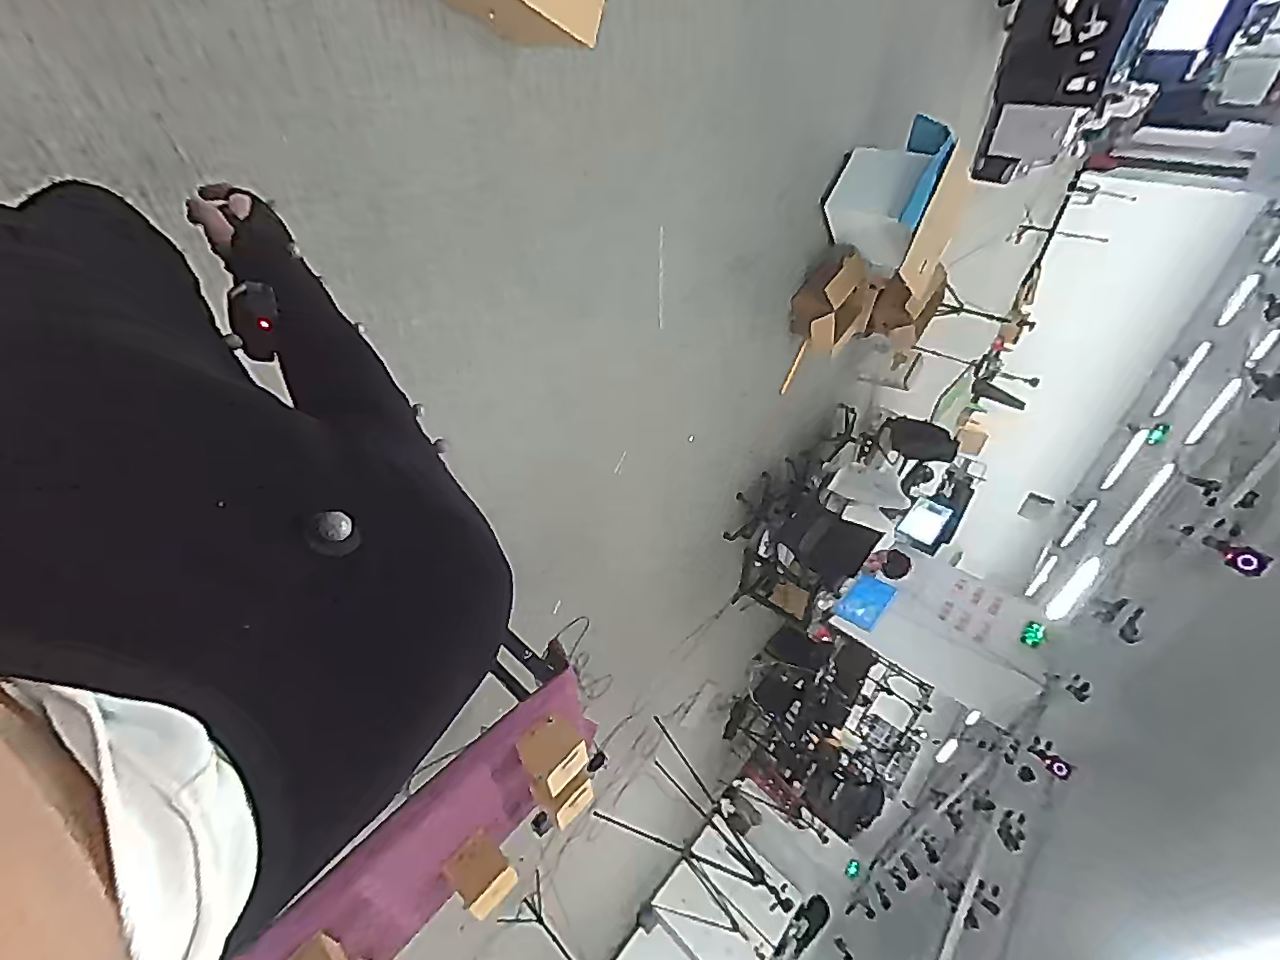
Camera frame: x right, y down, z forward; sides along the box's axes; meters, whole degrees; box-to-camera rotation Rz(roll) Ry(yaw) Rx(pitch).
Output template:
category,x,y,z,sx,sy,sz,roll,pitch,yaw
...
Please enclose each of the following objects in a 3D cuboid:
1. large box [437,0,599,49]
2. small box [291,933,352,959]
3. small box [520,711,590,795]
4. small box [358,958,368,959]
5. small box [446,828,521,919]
category,x,y,z,sx,sy,sz,roll,pitch,yaw
large box,-0.326,-1.290,1.279,0.408,0.320,0.320,-12,124,-50
small box,-0.841,1.332,1.403,0.168,0.176,0.179,-36,144,-36
small box,-0.294,0.929,1.857,0.168,0.176,0.179,-36,142,-33
small box,-0.837,1.578,1.607,0.168,0.176,0.179,-40,143,-35
small box,-0.536,1.346,1.858,0.168,0.176,0.179,-36,140,-33
